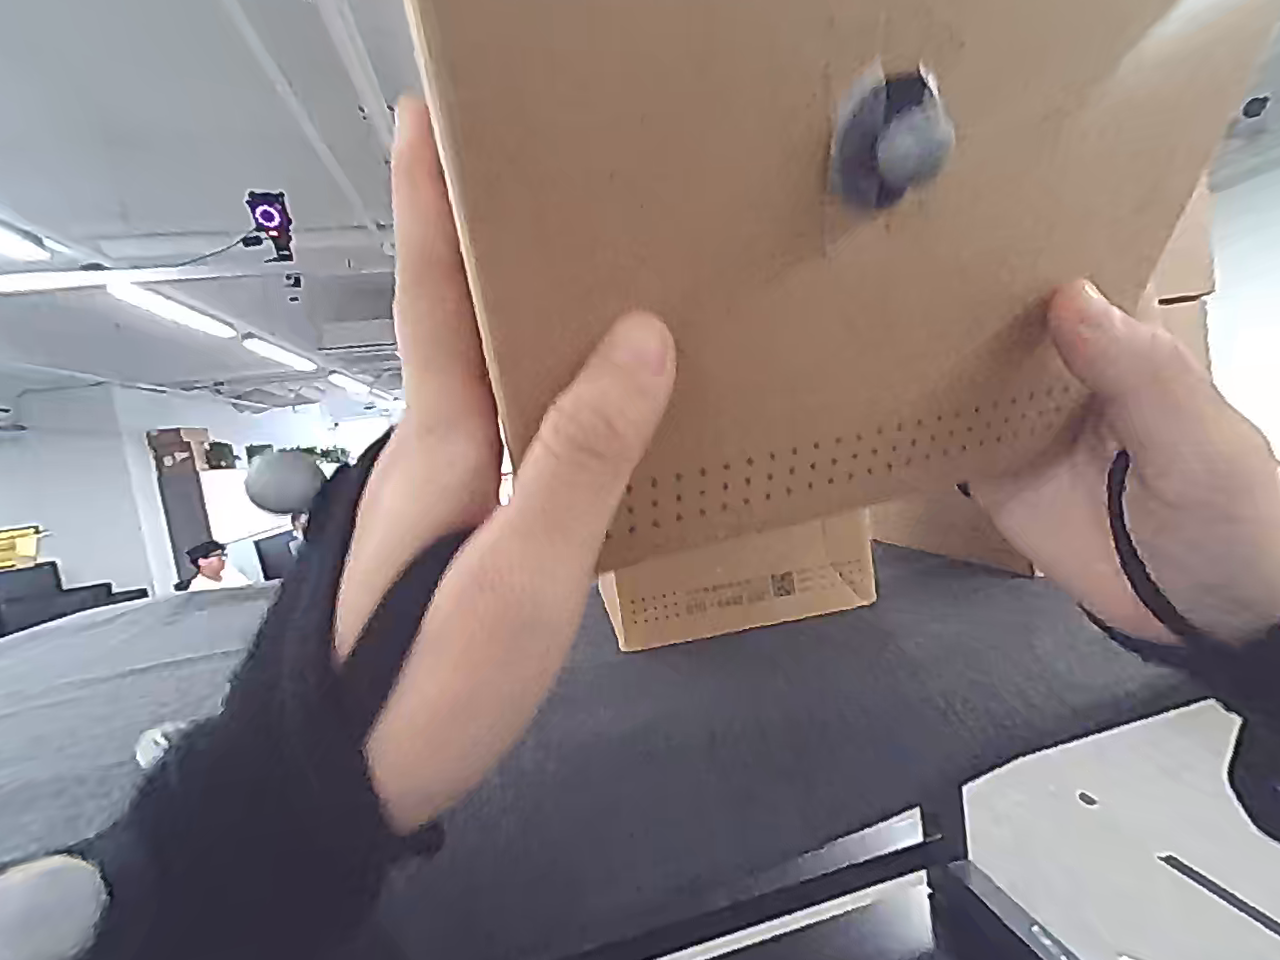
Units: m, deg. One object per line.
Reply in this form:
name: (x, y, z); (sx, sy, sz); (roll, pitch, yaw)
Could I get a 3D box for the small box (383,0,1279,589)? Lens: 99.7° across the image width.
small box: (0.030, -0.095, 0.171); (0.179, 0.176, 0.168); (-14, 37, -11)

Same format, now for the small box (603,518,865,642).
small box: (0.046, 0.011, 0.408); (0.168, 0.176, 0.179); (-9, 3, -8)
